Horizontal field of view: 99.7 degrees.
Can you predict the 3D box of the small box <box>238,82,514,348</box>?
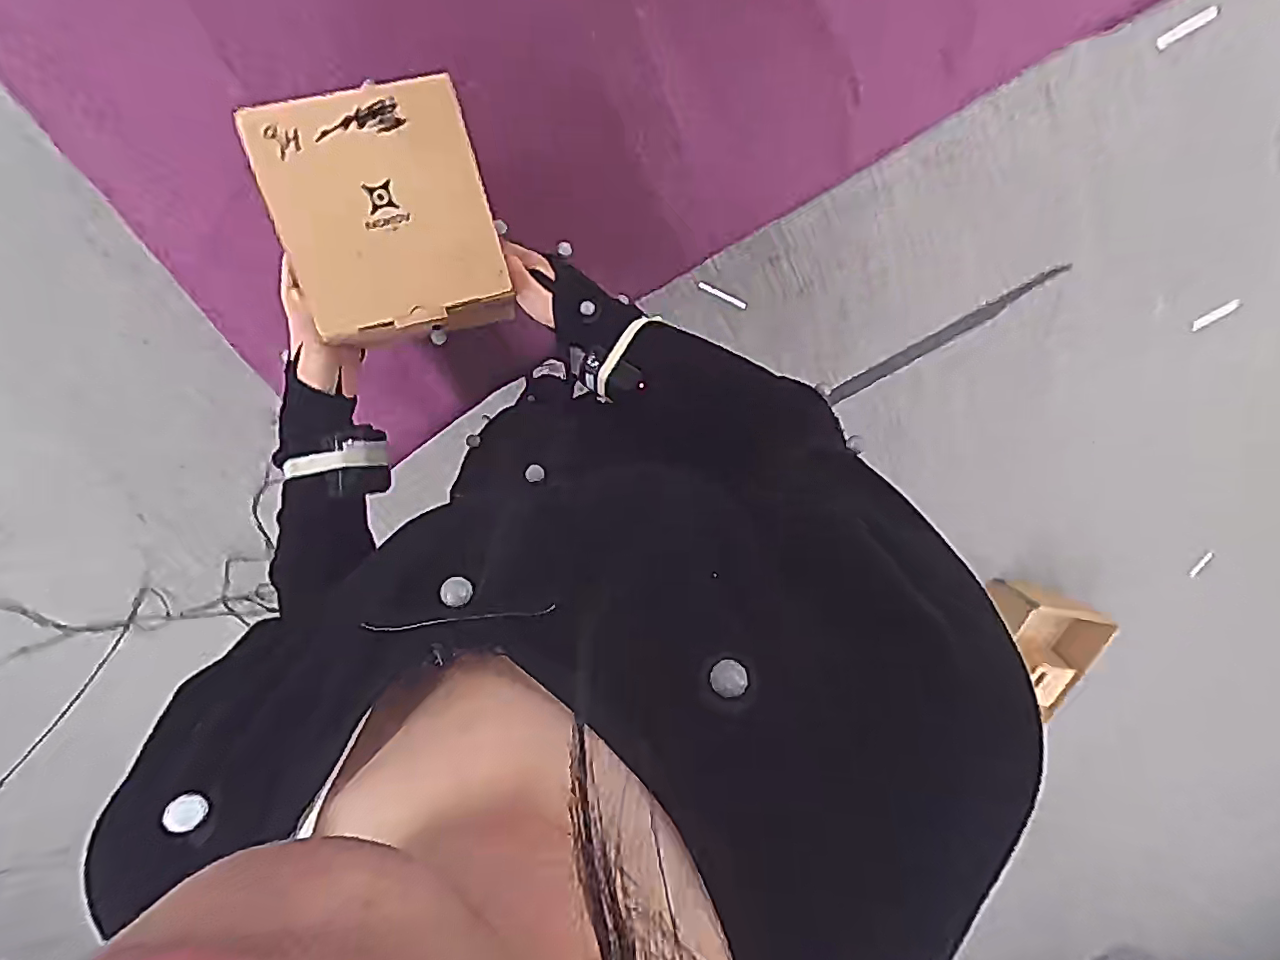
[{"bbox_3d":[-0.224,-0.230,0.517,0.168,0.176,0.179,-17,104,-8],"label":"small box"}]
